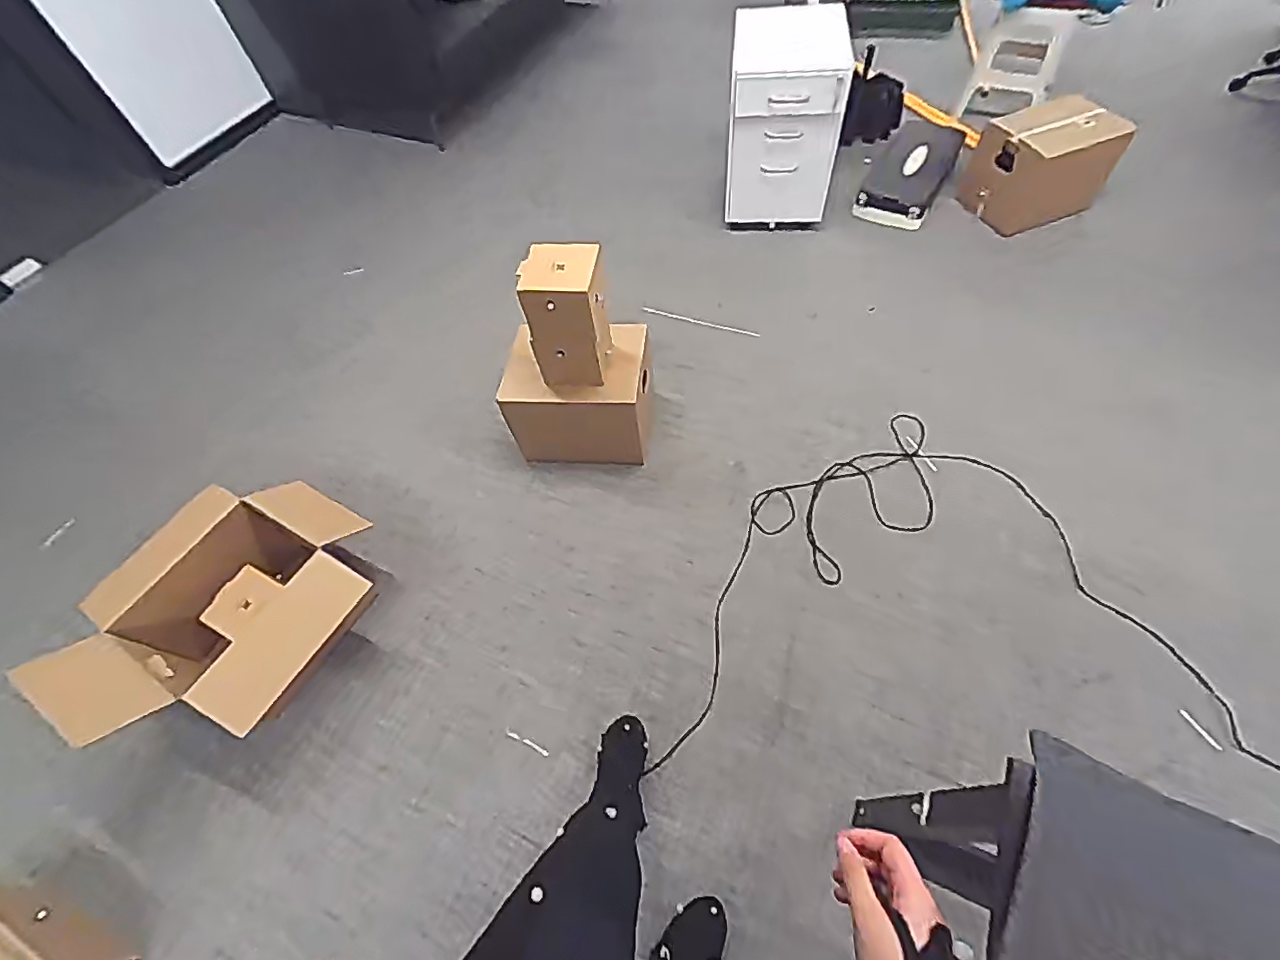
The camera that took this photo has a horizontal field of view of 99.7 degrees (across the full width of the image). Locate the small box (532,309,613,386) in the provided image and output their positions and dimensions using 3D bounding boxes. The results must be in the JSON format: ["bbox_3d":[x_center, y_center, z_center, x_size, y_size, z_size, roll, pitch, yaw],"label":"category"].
[{"bbox_3d":[-0.181,-0.379,1.506,0.179,0.176,0.168,3,60,8],"label":"small box"}]

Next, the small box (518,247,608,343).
[{"bbox_3d":[-0.184,-0.462,1.366,0.179,0.176,0.168,3,60,9],"label":"small box"}]
